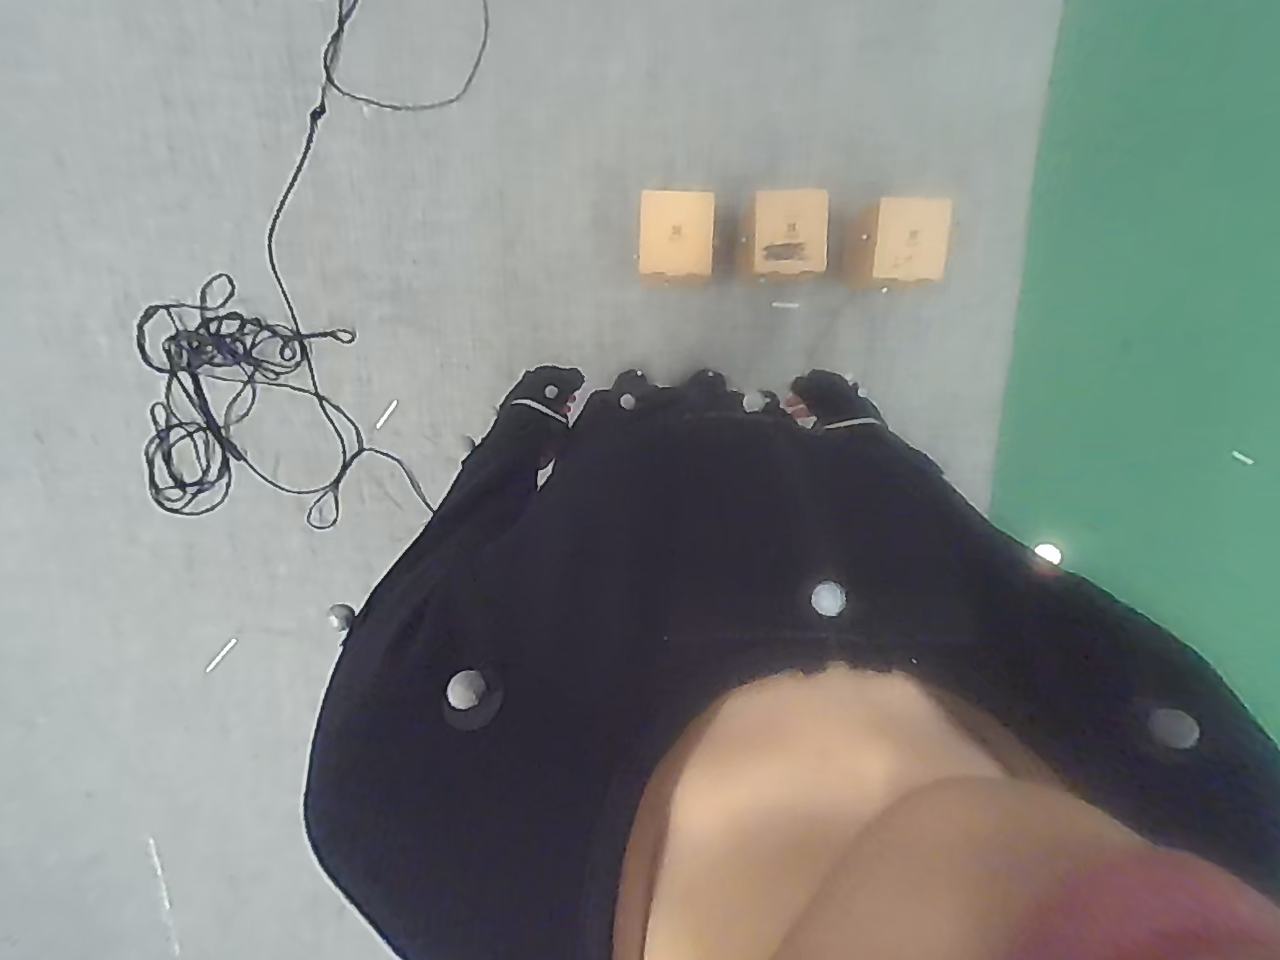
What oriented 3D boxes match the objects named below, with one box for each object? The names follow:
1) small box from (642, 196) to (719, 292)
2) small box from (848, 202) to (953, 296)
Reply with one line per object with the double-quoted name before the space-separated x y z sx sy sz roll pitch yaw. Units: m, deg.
"small box" 0.091 -0.562 1.304 0.168 0.176 0.179 2 101 0
"small box" 0.621 -0.553 1.311 0.168 0.176 0.179 1 102 0
